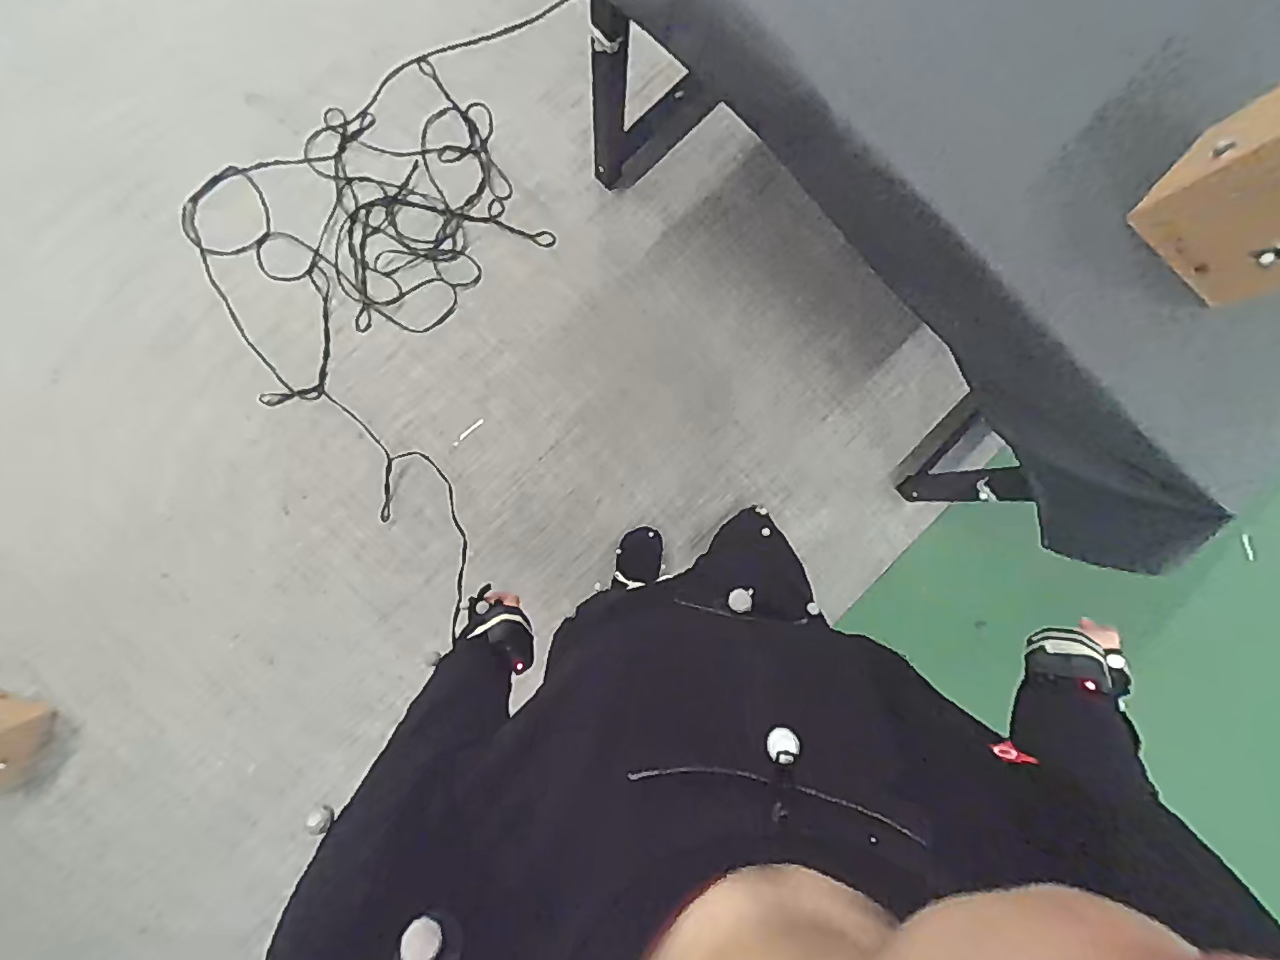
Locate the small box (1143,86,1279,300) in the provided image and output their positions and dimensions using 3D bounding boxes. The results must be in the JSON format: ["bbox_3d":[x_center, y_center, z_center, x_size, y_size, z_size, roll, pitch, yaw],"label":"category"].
[{"bbox_3d":[0.738,-0.338,0.612,0.168,0.176,0.179,44,84,-2],"label":"small box"}]
